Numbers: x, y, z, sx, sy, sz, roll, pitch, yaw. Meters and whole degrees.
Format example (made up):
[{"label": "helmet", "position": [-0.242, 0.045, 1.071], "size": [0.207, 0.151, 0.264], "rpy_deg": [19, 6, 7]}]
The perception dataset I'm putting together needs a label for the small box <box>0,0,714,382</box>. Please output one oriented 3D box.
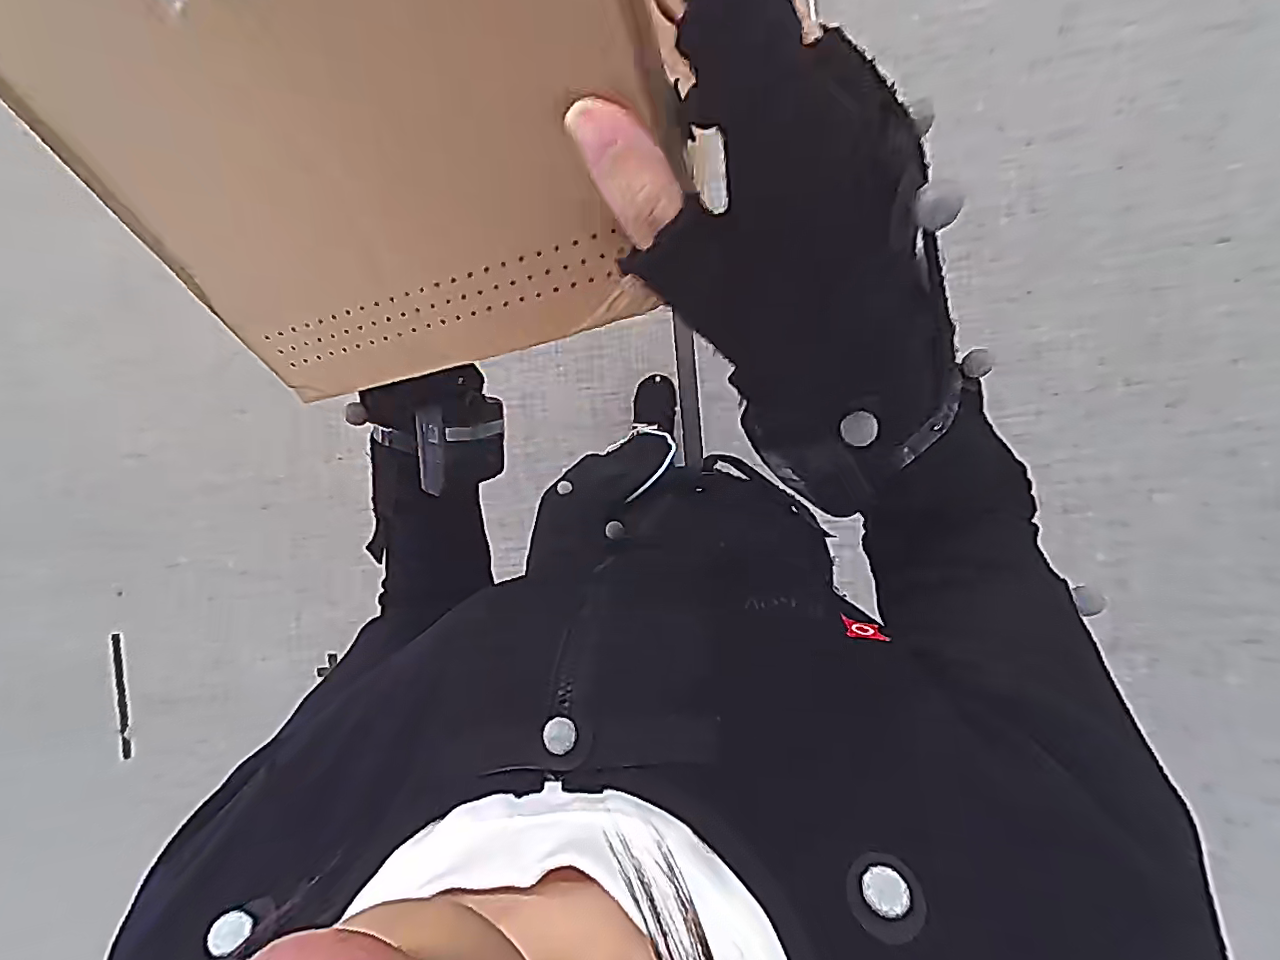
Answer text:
[{"label": "small box", "position": [-0.077, -0.159, 0.206], "size": [0.179, 0.168, 0.176], "rpy_deg": [-9, 137, 16]}]
